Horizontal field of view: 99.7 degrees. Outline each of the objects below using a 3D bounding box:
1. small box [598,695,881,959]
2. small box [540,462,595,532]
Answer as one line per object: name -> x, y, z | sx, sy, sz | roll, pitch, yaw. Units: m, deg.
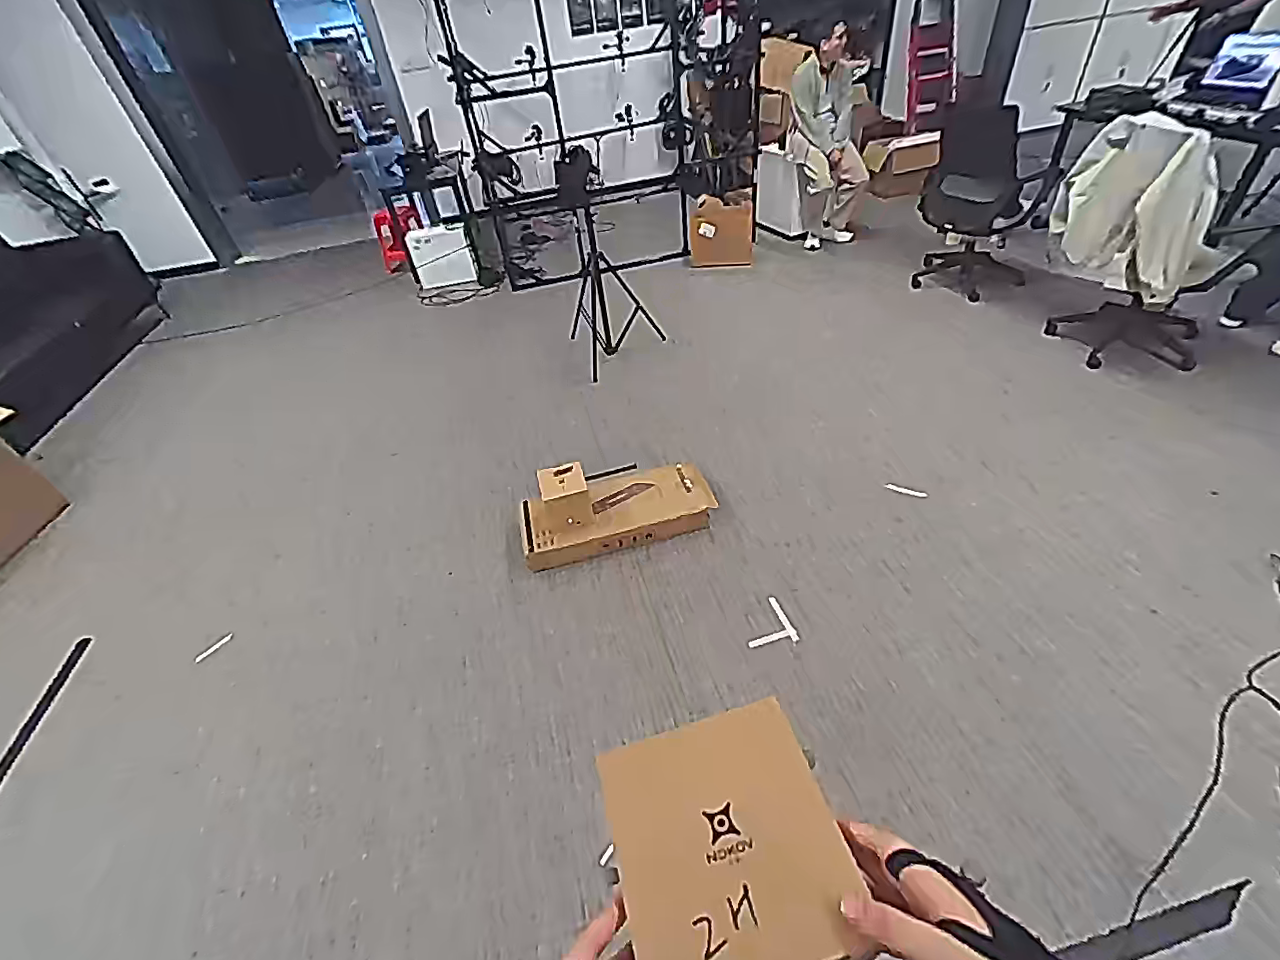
small box -> 0.071, 0.323, 0.461 | 0.168, 0.176, 0.179 | -16, 42, -6
small box -> -0.272, 0.064, 2.030 | 0.168, 0.176, 0.179 | -15, 41, -8
